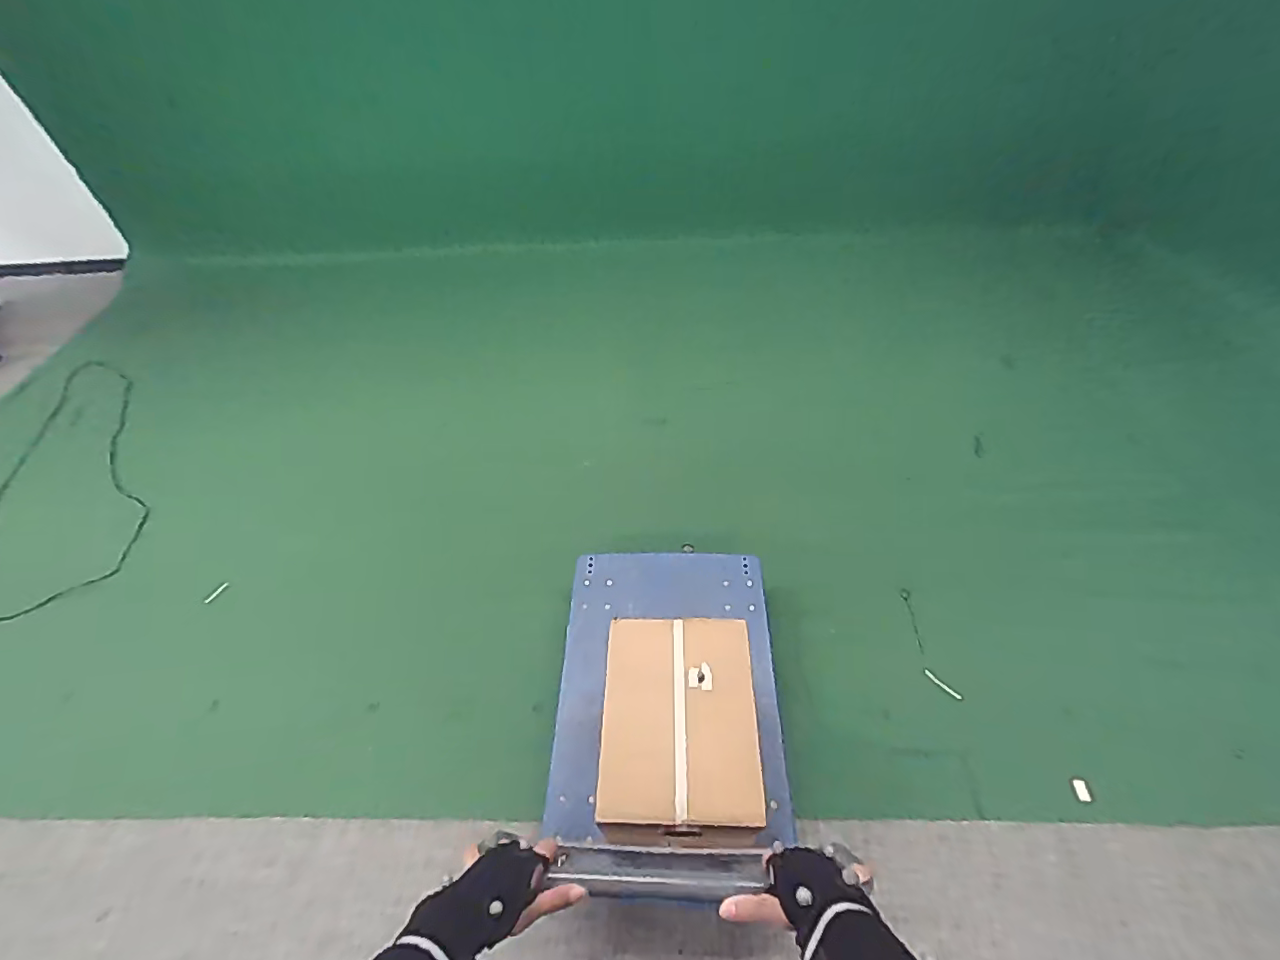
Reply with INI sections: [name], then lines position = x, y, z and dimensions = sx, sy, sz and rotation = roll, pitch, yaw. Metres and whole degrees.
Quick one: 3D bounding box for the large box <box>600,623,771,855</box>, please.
[large box]
position = 0.092, 0.574, 1.201
dimensions = 0.320, 0.320, 0.408
rotation = 0, 48, 3
